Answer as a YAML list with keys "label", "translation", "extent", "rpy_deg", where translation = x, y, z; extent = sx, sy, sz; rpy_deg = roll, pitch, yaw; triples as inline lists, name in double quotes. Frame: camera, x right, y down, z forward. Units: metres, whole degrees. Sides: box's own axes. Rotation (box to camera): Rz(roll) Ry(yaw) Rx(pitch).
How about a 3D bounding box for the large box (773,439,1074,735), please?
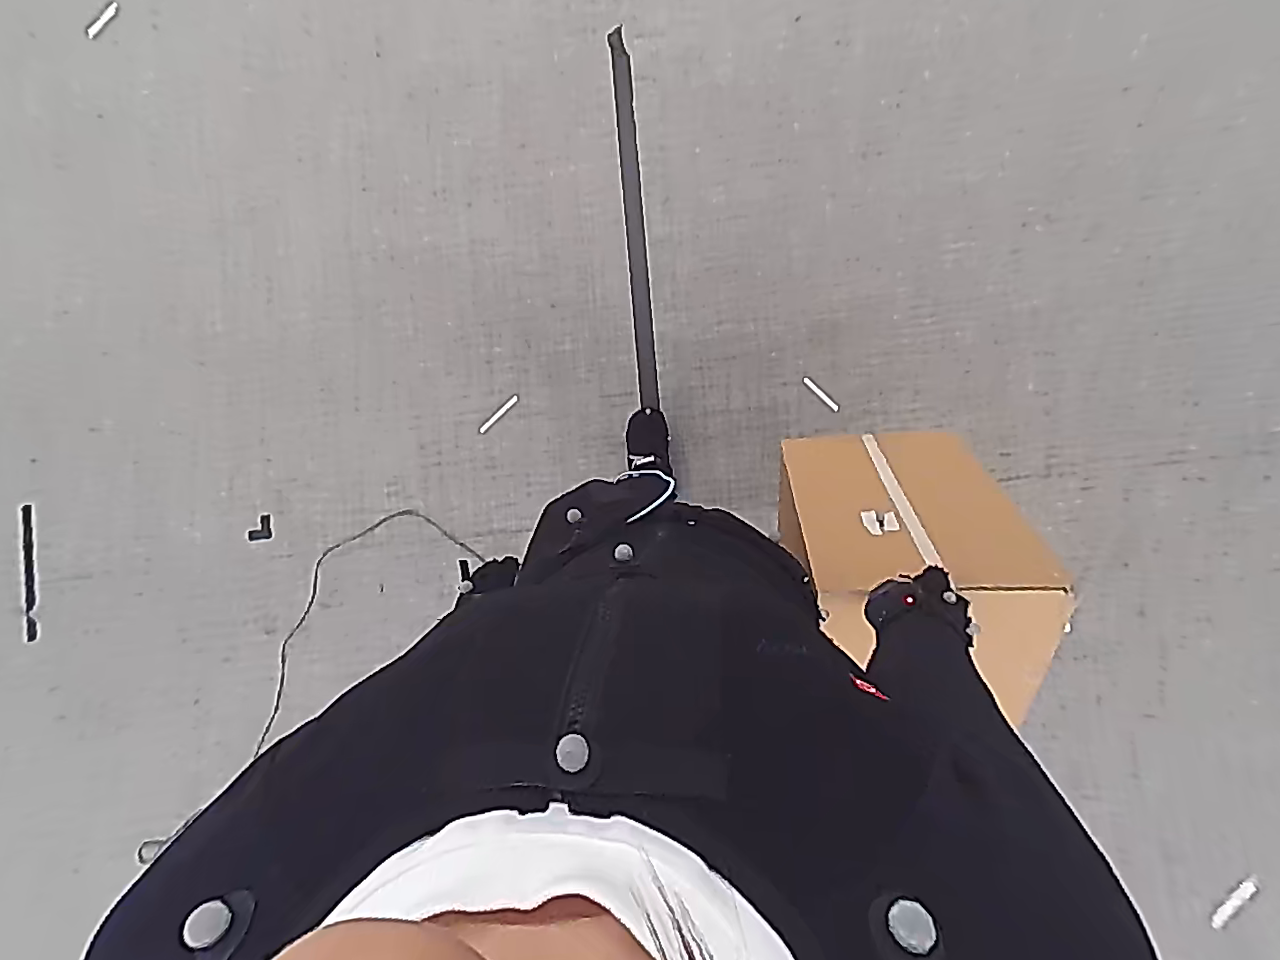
- label: "large box"
  translation: [0.414, 0.161, 0.927]
  extent: [0.320, 0.408, 0.320]
  rpy_deg: [-3, 123, 8]
